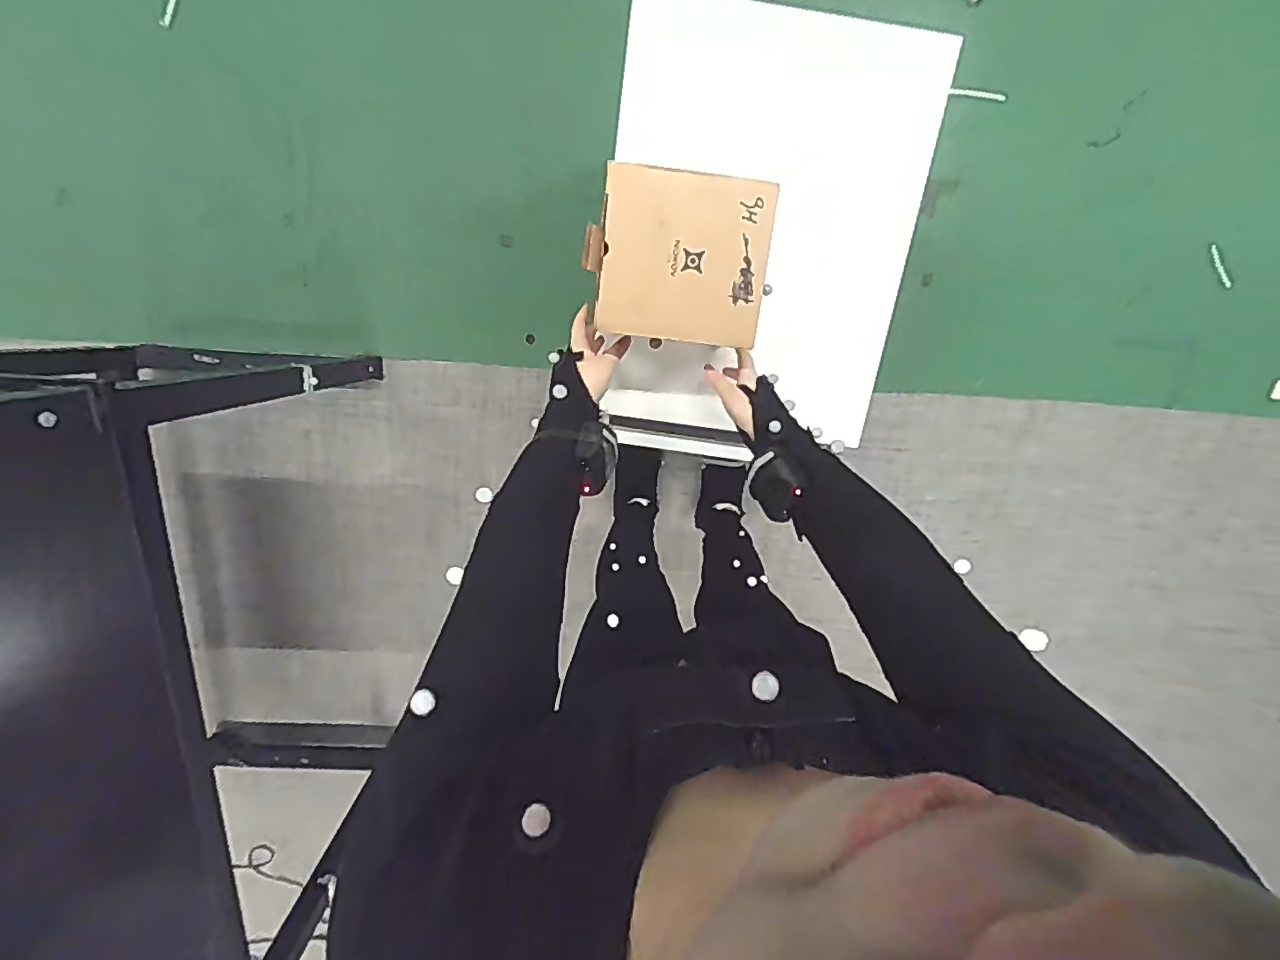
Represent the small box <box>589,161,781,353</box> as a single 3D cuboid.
[{"bbox_3d":[0.042,-0.242,0.625,0.179,0.176,0.168,7,105,-3],"label":"small box"}]
